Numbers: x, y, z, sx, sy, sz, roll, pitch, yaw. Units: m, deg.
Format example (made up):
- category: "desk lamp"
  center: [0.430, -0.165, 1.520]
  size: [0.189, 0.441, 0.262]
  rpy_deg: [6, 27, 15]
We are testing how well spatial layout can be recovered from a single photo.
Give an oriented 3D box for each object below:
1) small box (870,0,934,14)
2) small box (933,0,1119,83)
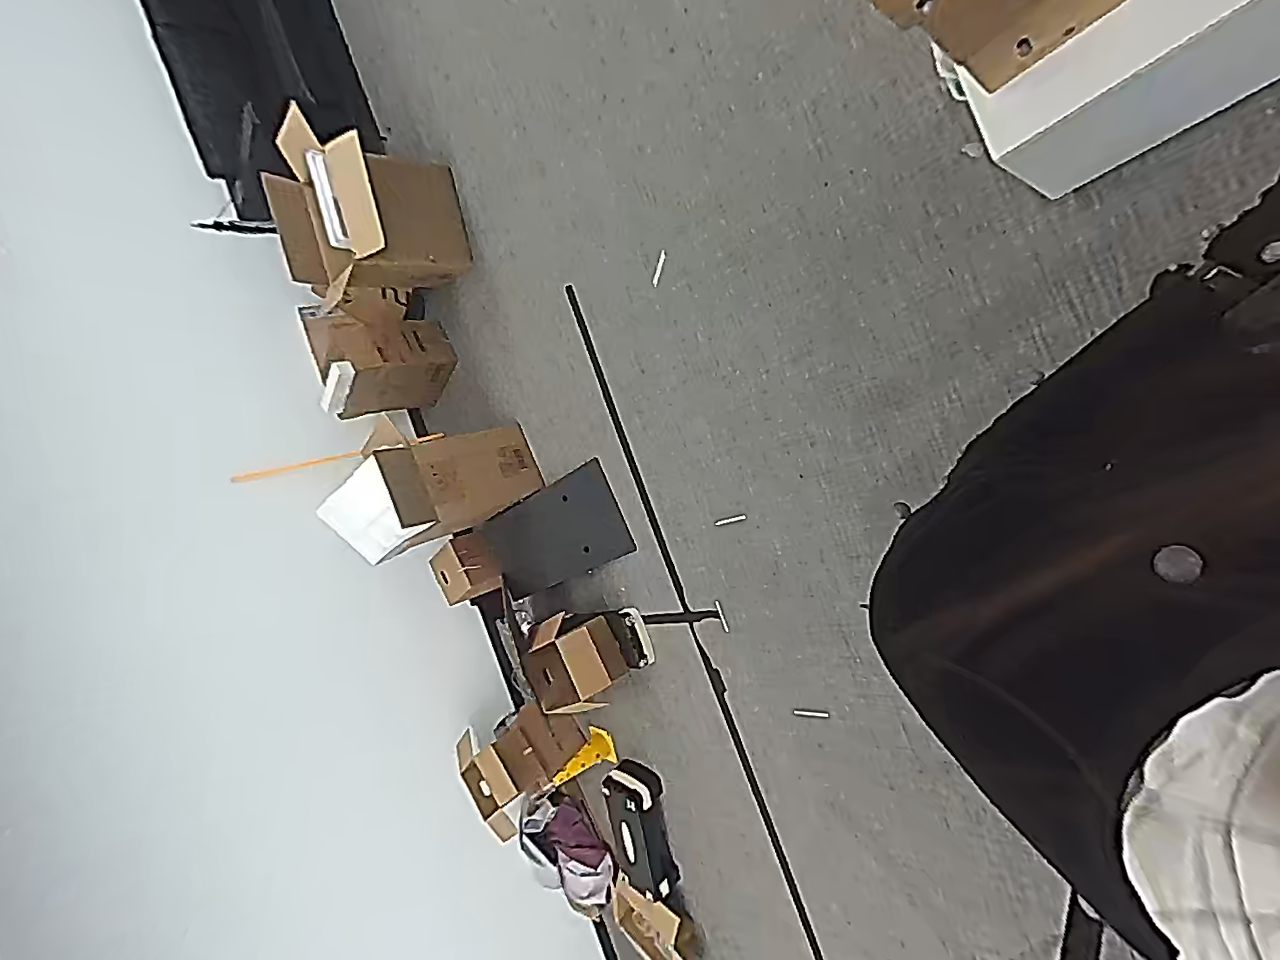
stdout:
- category: "small box"
  center: [0.265, -0.577, 0.488]
  size: [0.168, 0.176, 0.179]
  rpy_deg: [-16, 91, 47]
- category: "small box"
  center: [0.497, -0.663, 0.705]
  size: [0.168, 0.176, 0.179]
  rpy_deg: [-21, 88, 47]
